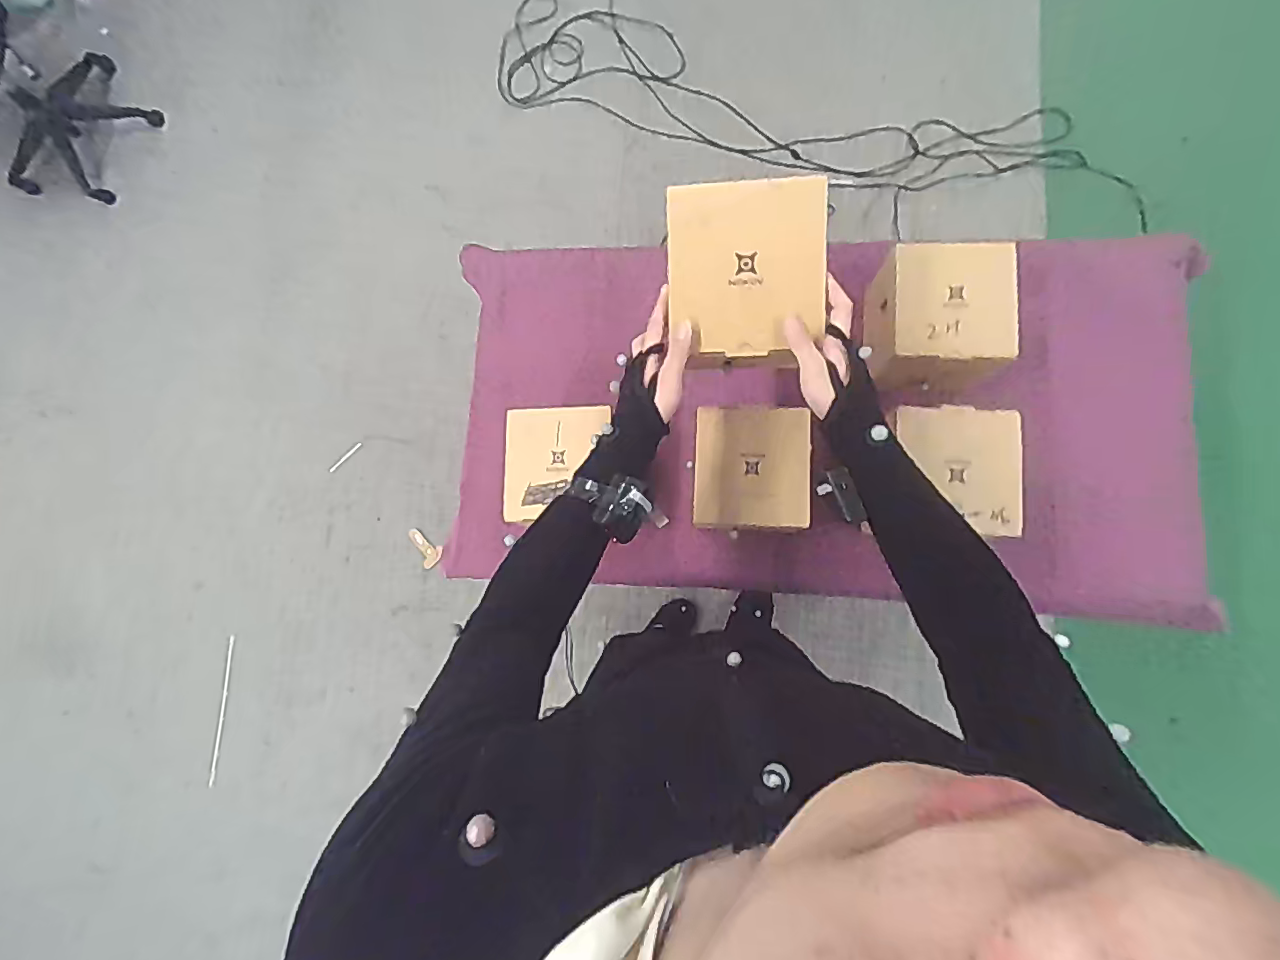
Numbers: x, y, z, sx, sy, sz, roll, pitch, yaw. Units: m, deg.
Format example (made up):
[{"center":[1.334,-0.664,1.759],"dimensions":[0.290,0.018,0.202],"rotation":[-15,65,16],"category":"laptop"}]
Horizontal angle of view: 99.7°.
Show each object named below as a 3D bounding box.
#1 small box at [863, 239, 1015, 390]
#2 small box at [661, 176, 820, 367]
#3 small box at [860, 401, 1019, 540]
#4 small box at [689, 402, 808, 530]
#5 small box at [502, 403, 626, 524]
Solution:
[{"center":[0.457,-0.252,0.850],"dimensions":[0.168,0.176,0.179],"rotation":[3,84,9],"category":"small box"},{"center":[0.112,-0.232,0.644],"dimensions":[0.168,0.176,0.179],"rotation":[-1,98,7],"category":"small box"},{"center":[0.441,-0.007,0.819],"dimensions":[0.168,0.176,0.179],"rotation":[4,82,9],"category":"small box"},{"center":[0.168,-0.016,0.860],"dimensions":[0.168,0.176,0.179],"rotation":[2,83,9],"category":"small box"},{"center":[-0.117,-0.019,0.897],"dimensions":[0.168,0.176,0.179],"rotation":[-1,80,8],"category":"small box"}]
